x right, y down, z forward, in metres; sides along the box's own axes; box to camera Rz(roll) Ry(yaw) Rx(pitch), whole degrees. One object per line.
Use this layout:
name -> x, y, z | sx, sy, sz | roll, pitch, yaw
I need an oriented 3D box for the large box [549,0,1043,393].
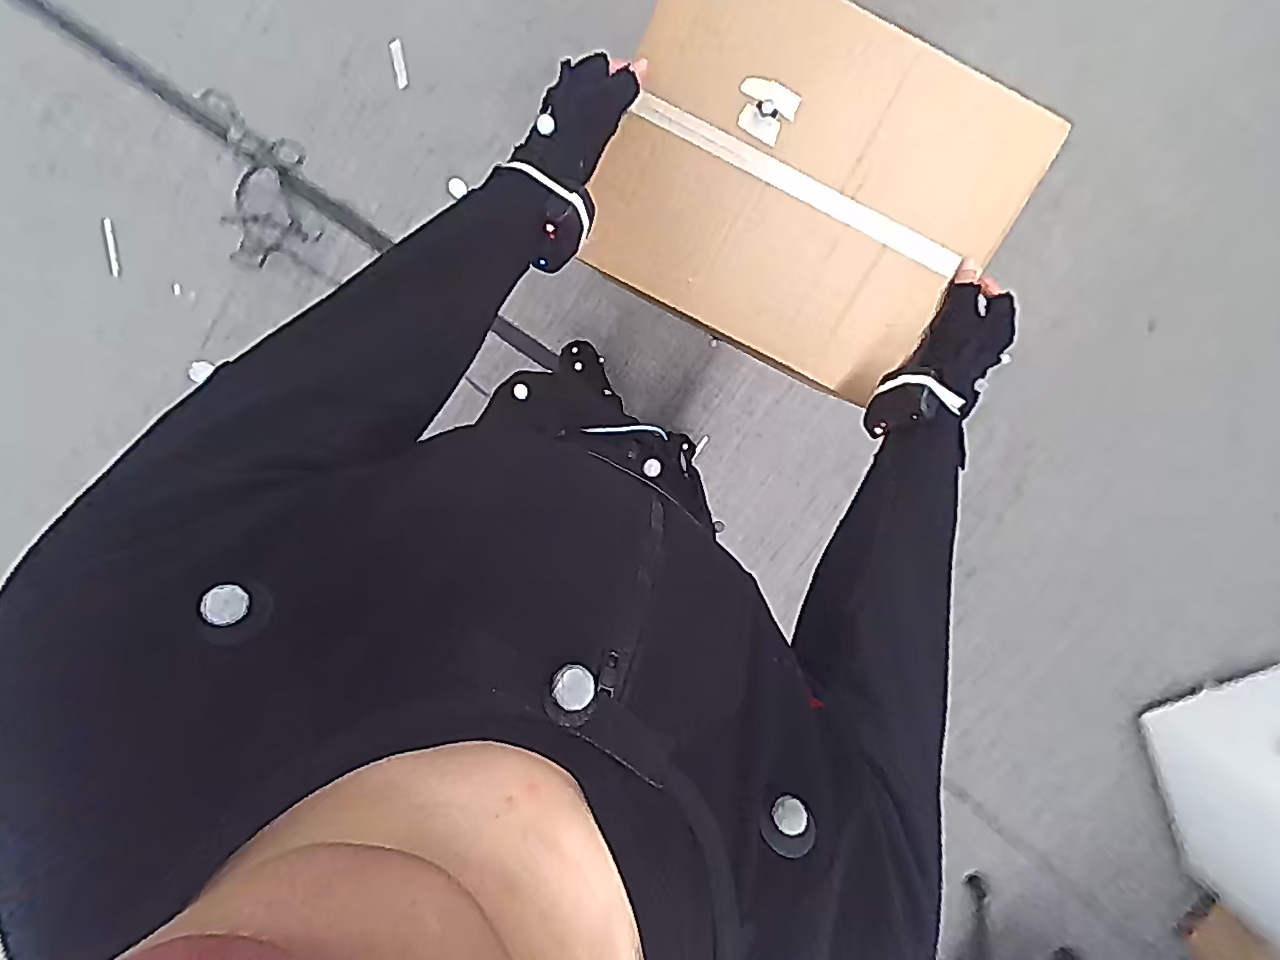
large box -> 0.158, -0.344, 0.689 | 0.408, 0.320, 0.320 | 26, 105, -1
